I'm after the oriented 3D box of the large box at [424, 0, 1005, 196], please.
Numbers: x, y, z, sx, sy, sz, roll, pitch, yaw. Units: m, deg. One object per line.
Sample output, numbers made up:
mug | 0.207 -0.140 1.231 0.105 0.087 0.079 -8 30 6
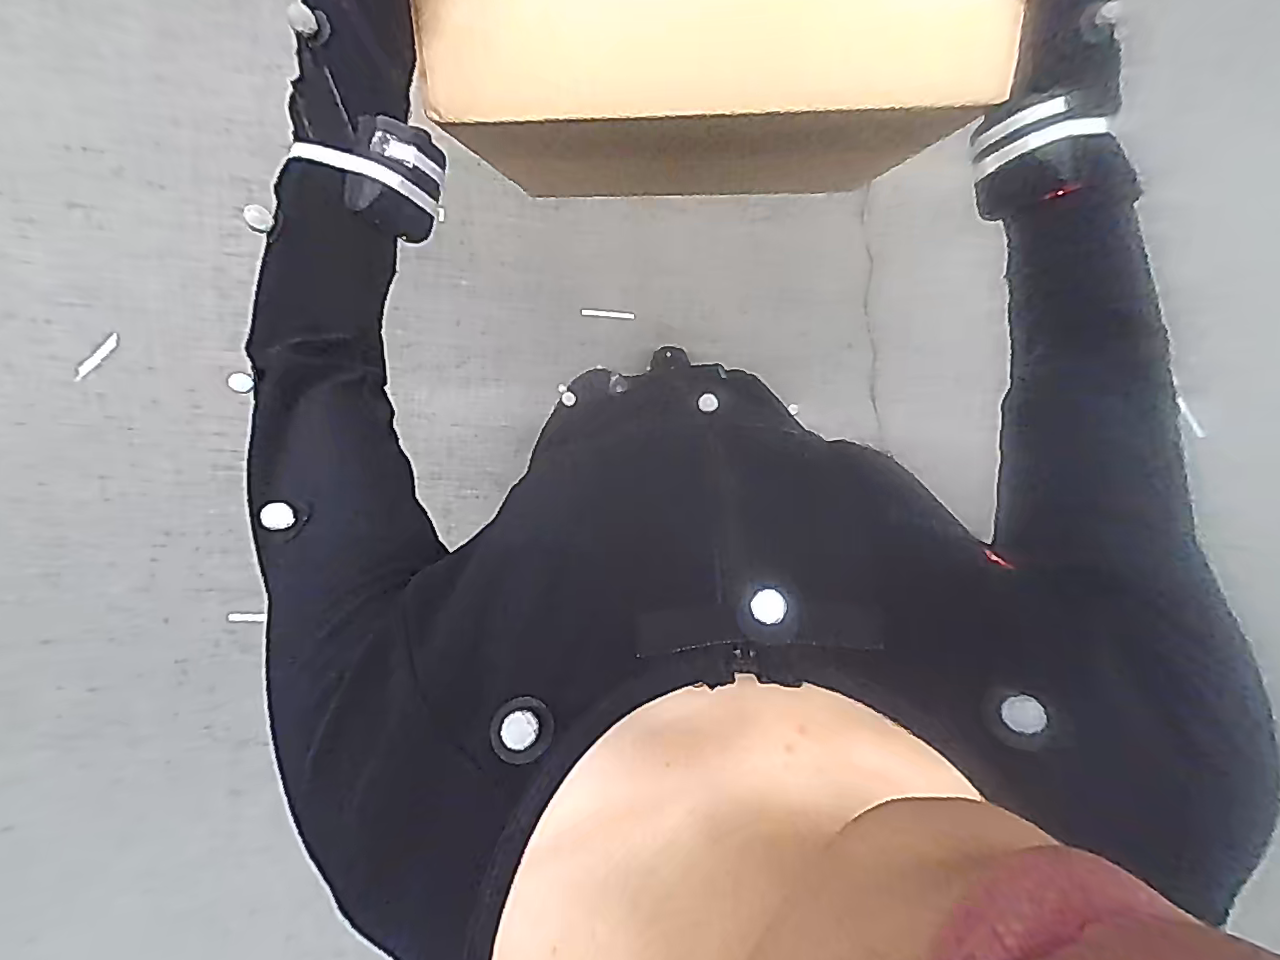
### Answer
large box | 0.049 -0.460 0.482 0.408 0.320 0.320 0 109 2
